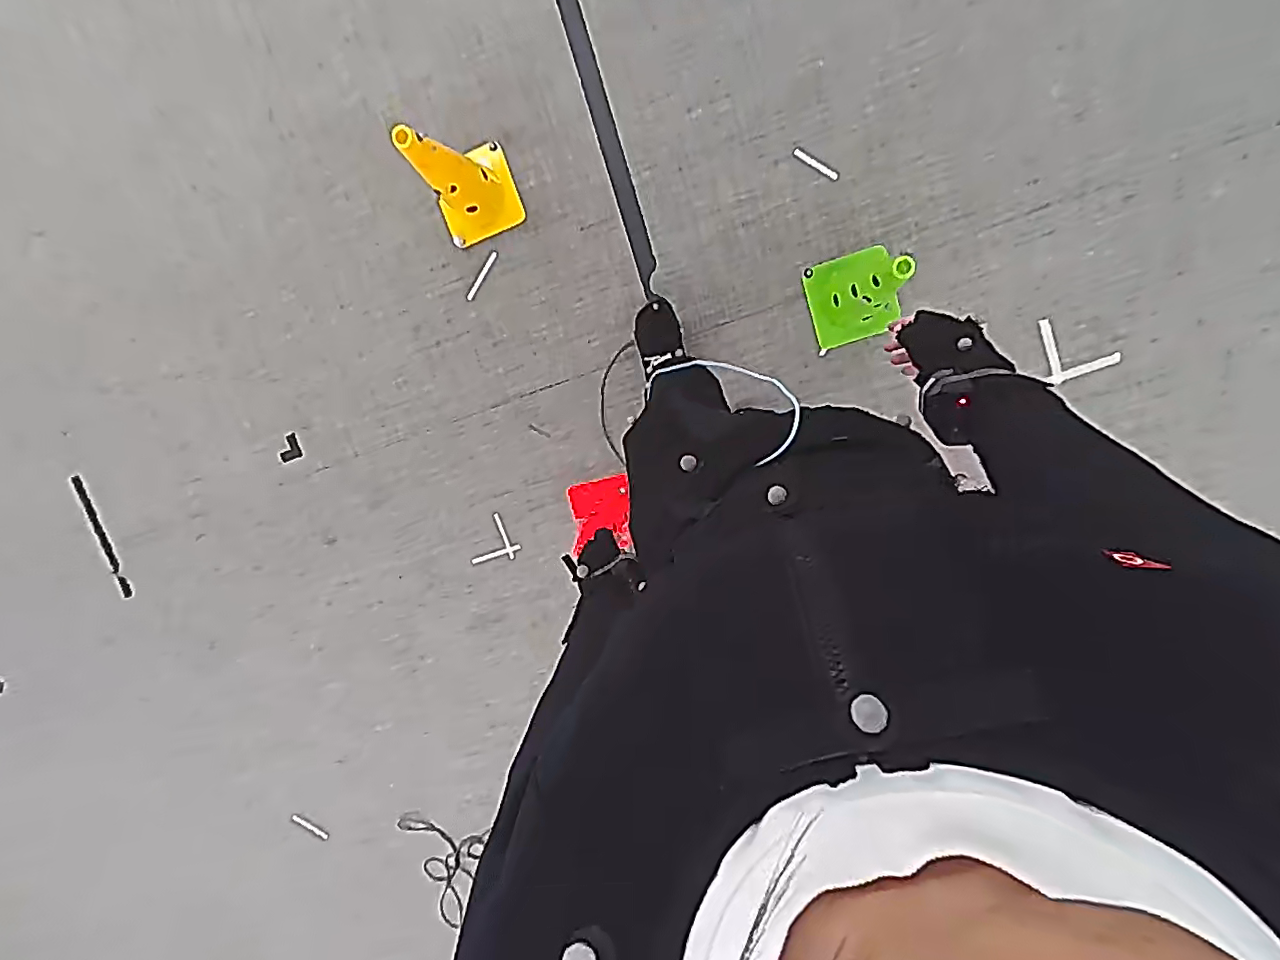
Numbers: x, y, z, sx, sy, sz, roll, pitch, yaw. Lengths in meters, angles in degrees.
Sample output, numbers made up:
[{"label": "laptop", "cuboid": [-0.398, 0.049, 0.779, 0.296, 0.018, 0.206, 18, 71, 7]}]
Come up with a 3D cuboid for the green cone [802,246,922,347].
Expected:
[{"label": "green cone", "cuboid": [0.491, -0.407, 1.130, 0.202, 0.368, 0.200, -17, 98, 8]}]

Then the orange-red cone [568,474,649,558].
[{"label": "orange-red cone", "cuboid": [-0.107, 0.120, 1.299, 0.199, 0.360, 0.198, -12, 97, 10]}]
